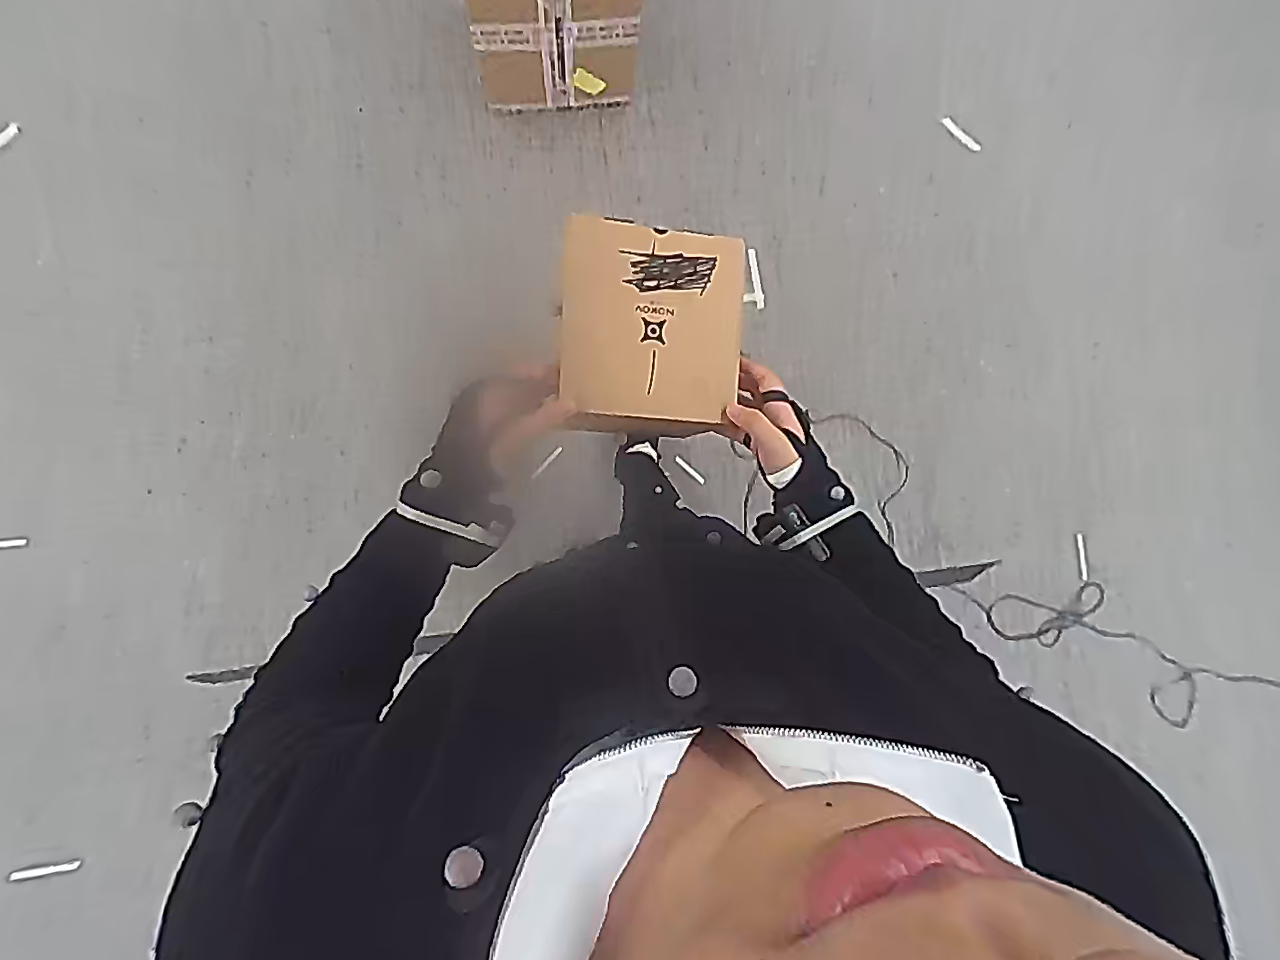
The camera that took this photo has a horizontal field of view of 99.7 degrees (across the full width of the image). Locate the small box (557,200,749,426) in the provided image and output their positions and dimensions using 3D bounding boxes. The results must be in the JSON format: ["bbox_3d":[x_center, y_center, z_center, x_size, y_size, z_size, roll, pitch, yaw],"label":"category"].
[{"bbox_3d":[0.002,-0.156,0.568,0.168,0.176,0.179,3,91,-11],"label":"small box"}]
